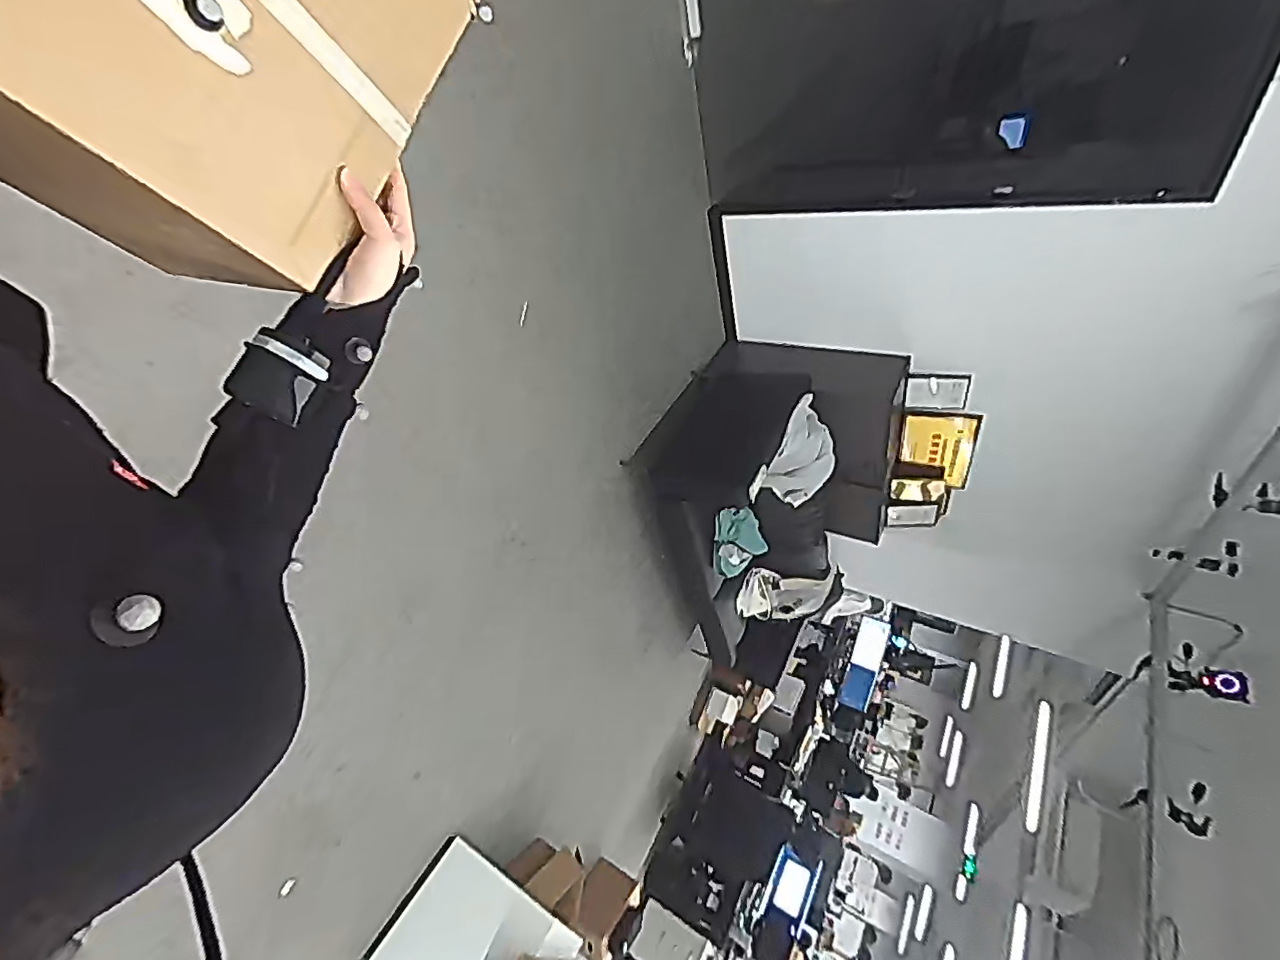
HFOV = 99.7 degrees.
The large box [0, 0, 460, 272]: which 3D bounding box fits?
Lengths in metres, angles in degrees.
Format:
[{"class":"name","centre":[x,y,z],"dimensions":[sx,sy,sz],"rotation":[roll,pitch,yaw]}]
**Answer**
[{"class":"large box","centre":[-0.419,-0.402,0.369],"dimensions":[0.408,0.320,0.320],"rotation":[37,73,-59]}]
